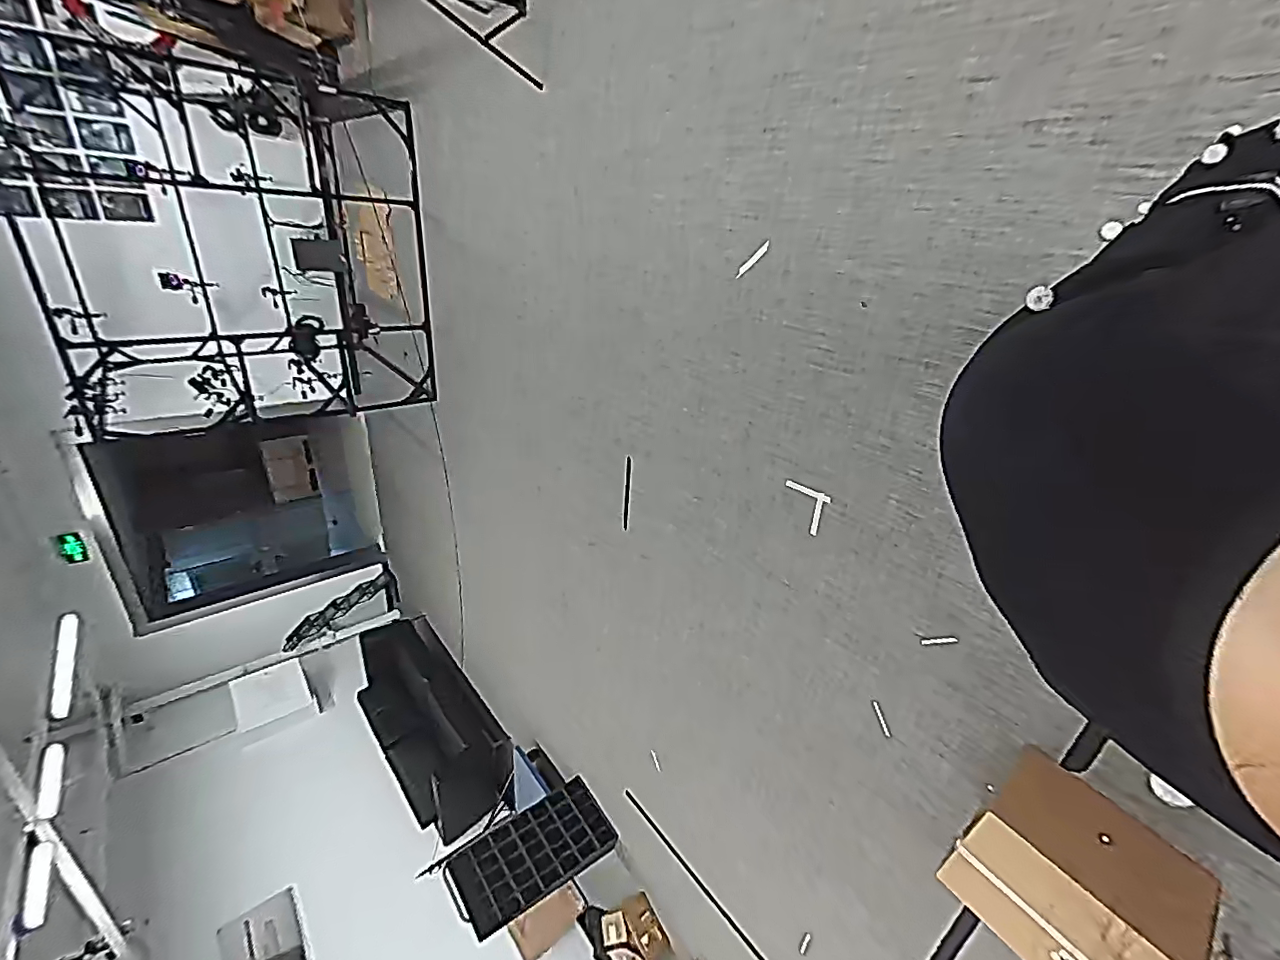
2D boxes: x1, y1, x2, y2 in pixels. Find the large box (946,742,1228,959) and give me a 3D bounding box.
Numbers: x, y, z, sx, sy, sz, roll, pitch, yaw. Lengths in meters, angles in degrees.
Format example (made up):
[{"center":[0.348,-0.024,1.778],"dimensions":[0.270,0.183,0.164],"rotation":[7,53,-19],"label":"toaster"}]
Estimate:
[{"center":[1.057,0.946,1.309],"dimensions":[0.408,0.320,0.320],"rotation":[36,129,38],"label":"large box"}]
